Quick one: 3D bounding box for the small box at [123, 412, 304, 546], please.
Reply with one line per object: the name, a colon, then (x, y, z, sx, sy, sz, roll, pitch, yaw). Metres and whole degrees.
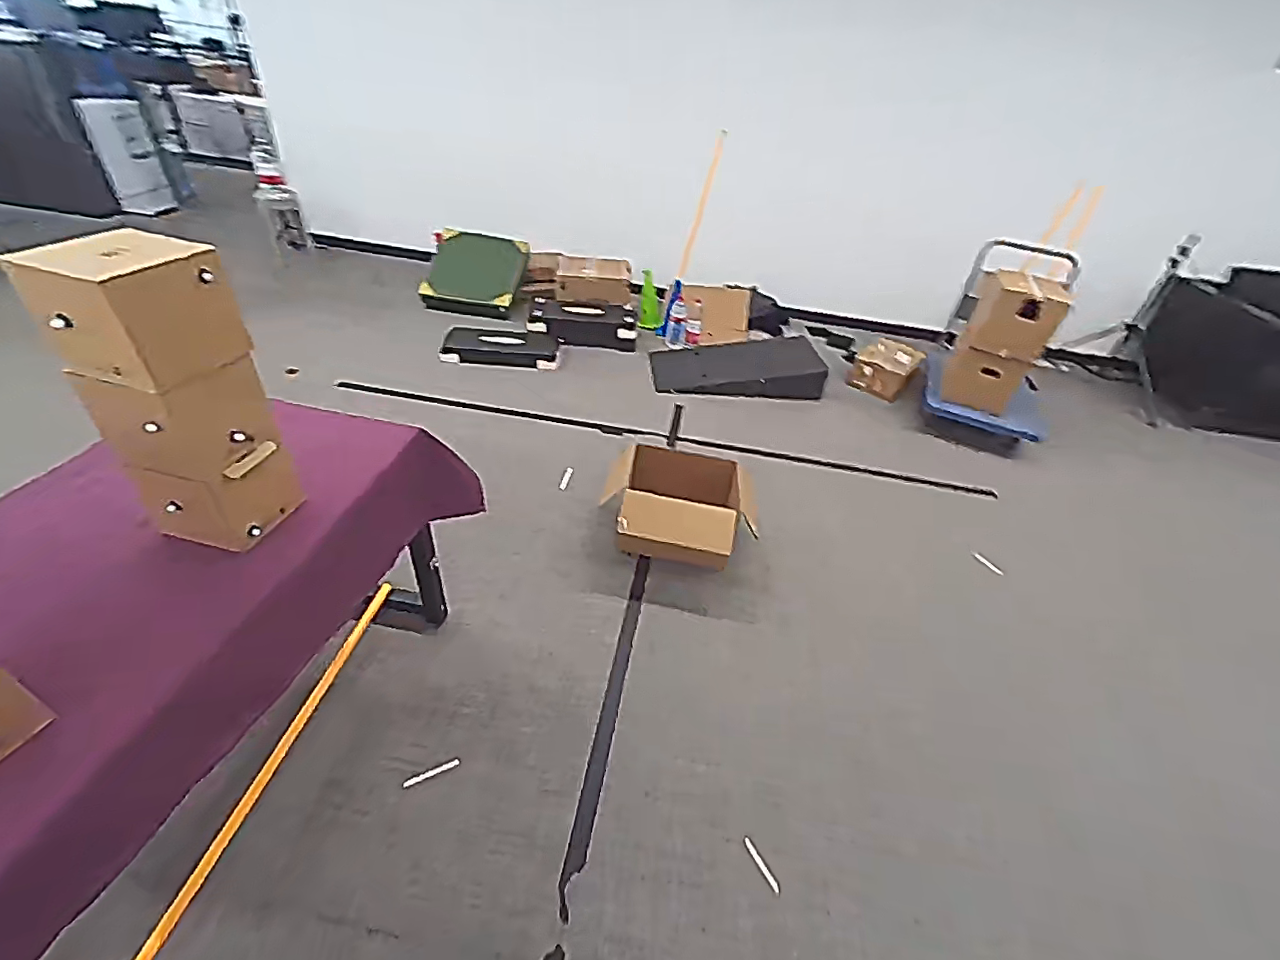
small box: (-0.771, 0.000, 1.003, 0.179, 0.176, 0.168, 12, 39, 7)

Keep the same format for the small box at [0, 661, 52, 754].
small box: (-0.890, 0.274, 0.647, 0.179, 0.176, 0.168, 18, 39, 13)

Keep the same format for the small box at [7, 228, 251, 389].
small box: (-0.732, -0.255, 0.803, 0.168, 0.176, 0.179, 15, 39, 9)
